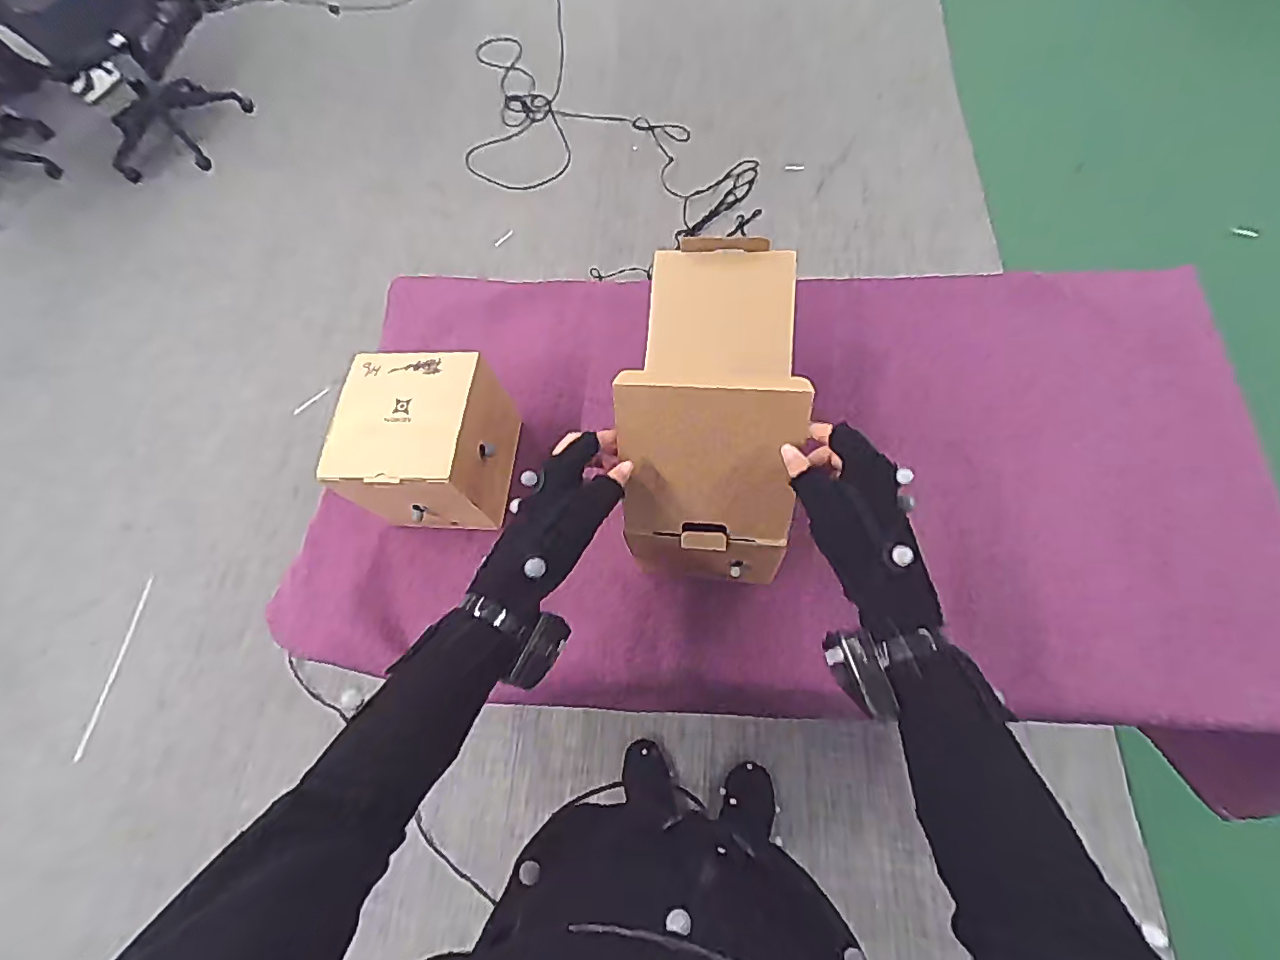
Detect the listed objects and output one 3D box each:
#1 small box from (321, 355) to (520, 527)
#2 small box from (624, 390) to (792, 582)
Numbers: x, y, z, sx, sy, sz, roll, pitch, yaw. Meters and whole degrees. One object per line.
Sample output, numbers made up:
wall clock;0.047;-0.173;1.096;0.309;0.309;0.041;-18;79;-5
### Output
small box;-0.270;-0.044;0.711;0.168;0.176;0.179;1;67;8
small box;0.084;0.014;0.640;0.168;0.176;0.179;4;66;9
